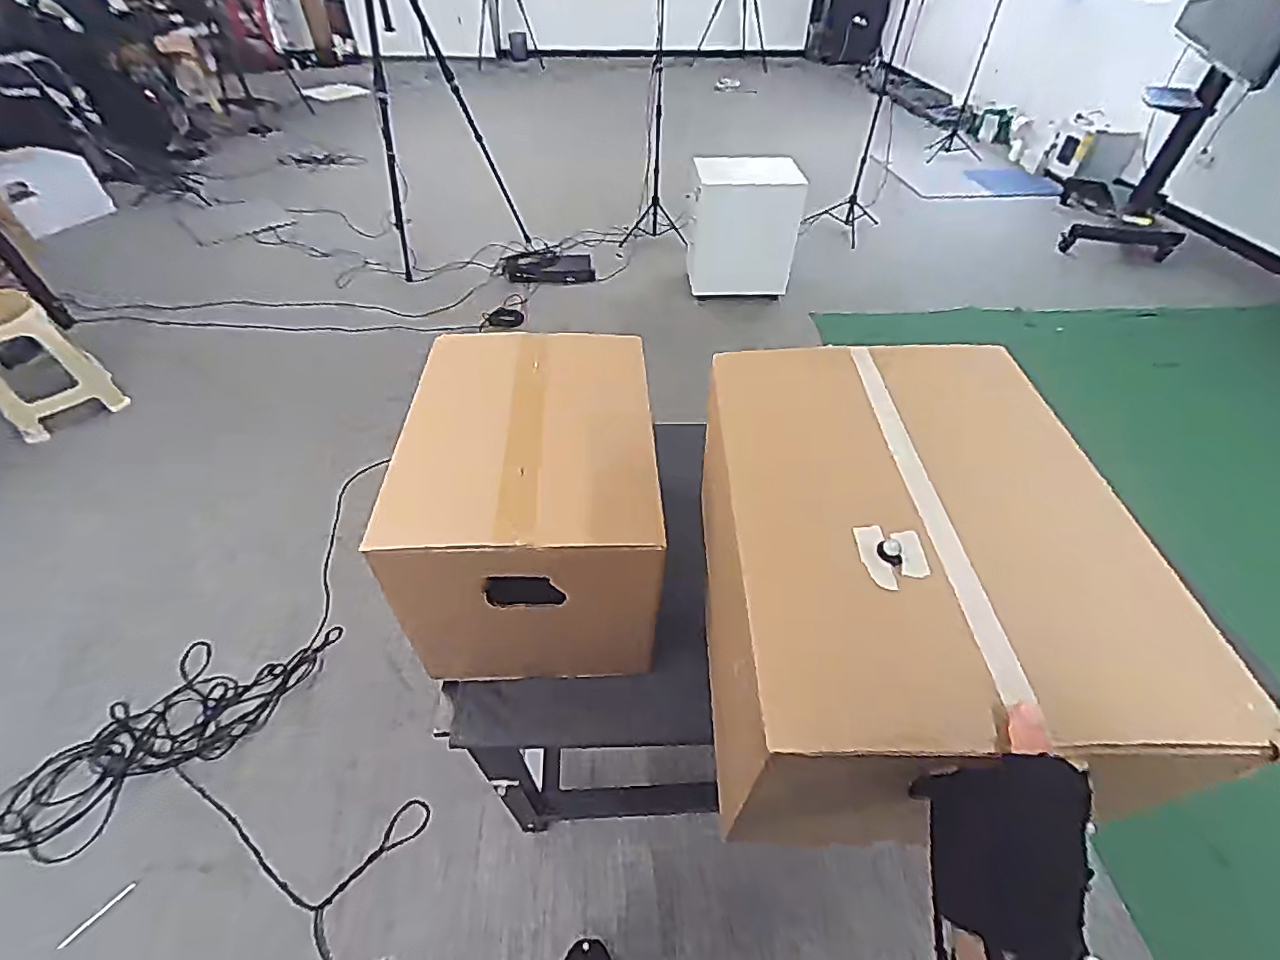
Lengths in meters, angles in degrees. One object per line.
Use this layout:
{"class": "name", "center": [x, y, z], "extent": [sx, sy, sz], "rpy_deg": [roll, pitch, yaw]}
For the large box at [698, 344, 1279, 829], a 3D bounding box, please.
{"class": "large box", "center": [0.236, 0.104, 0.564], "extent": [0.320, 0.320, 0.408], "rpy_deg": [-2, 49, 3]}
